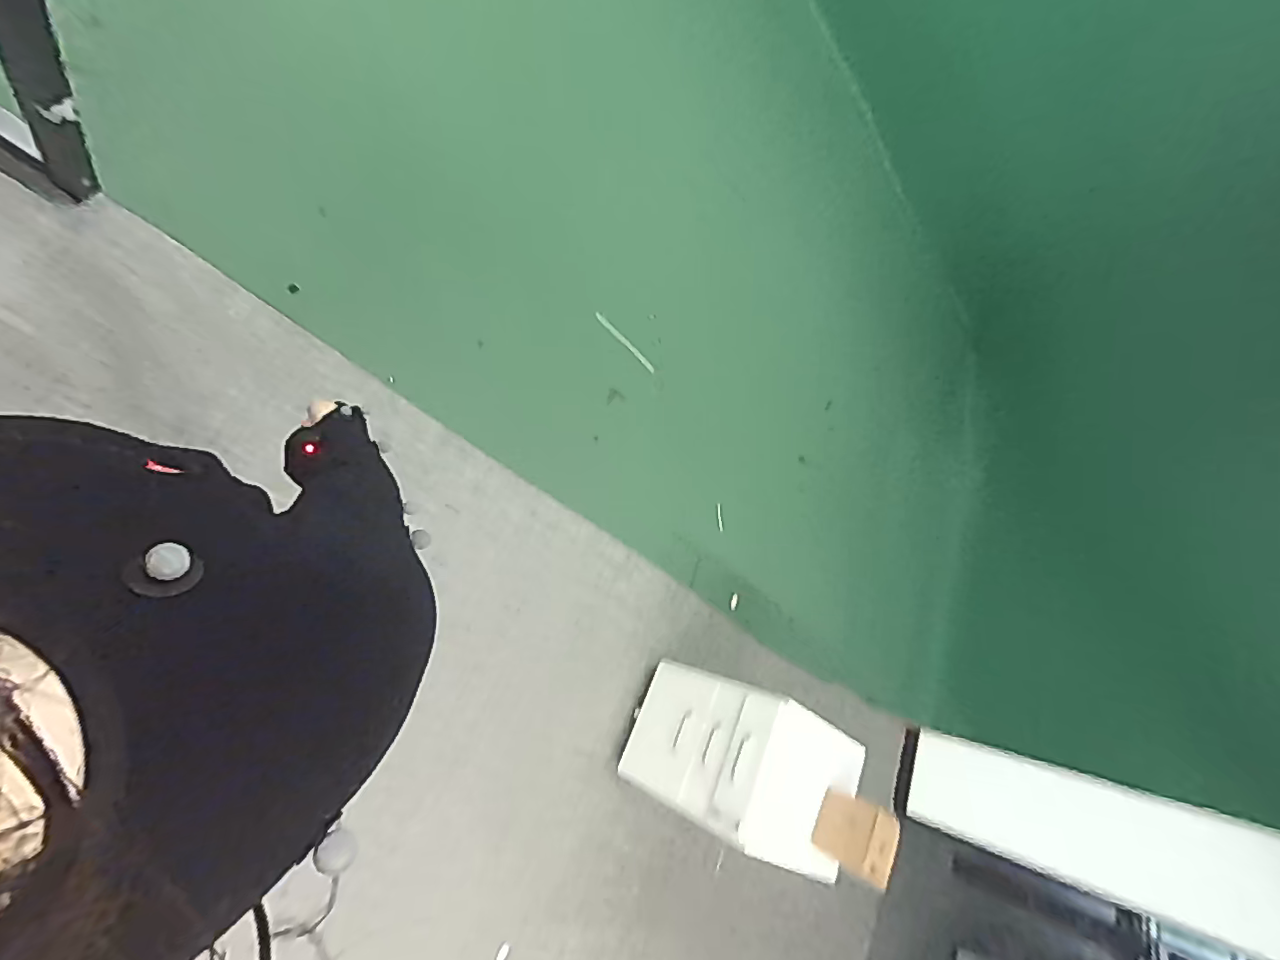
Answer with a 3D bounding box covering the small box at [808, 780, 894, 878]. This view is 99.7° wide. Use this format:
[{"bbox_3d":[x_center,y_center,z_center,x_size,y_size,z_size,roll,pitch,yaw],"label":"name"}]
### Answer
[{"bbox_3d":[0.627,1.033,1.615,0.168,0.176,0.179,47,59,-28],"label":"small box"}]
